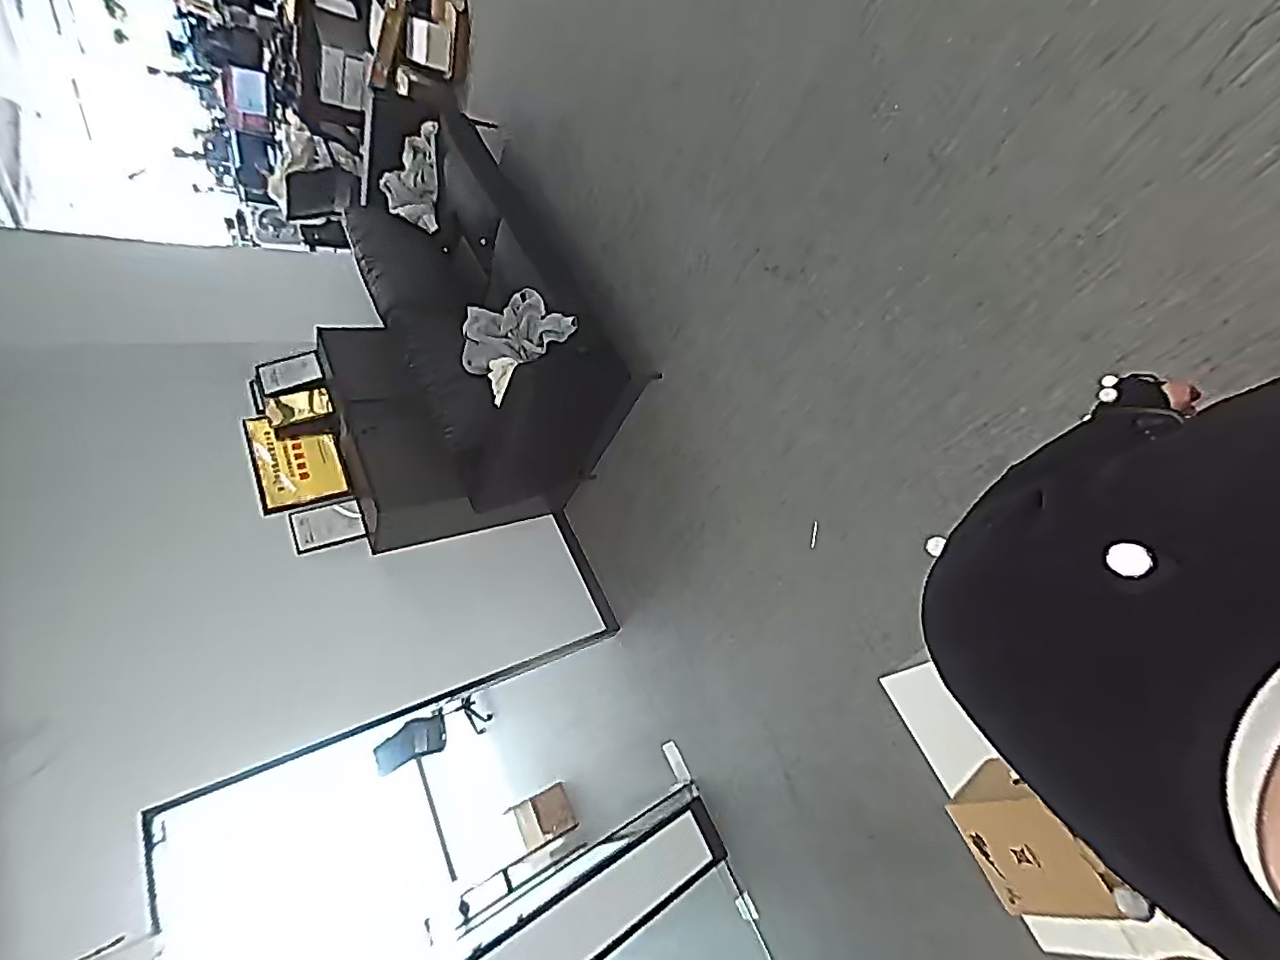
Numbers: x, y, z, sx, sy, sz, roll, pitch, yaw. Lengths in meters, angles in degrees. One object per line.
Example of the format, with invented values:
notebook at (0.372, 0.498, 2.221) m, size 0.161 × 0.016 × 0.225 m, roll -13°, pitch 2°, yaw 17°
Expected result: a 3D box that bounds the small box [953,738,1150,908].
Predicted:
small box at (0.653, 0.536, 0.857) m, size 0.168 × 0.176 × 0.179 m, roll 61°, pitch 140°, yaw 22°
